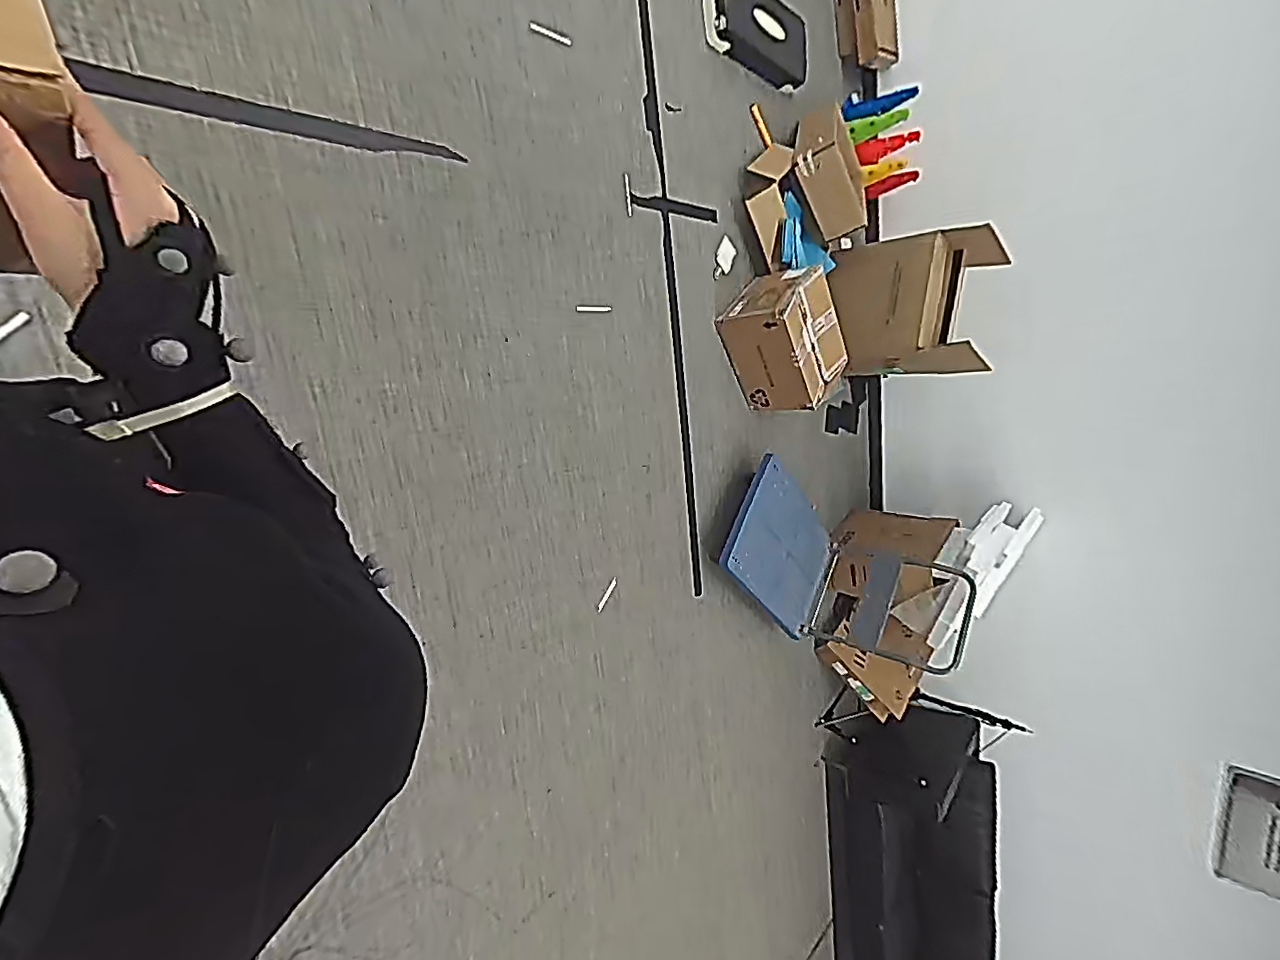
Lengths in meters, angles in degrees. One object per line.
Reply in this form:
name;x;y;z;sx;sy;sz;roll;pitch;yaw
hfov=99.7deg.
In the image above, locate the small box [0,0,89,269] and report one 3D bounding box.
small box;-0.418;-0.231;0.274;0.168;0.176;0.179;-17;84;-46
